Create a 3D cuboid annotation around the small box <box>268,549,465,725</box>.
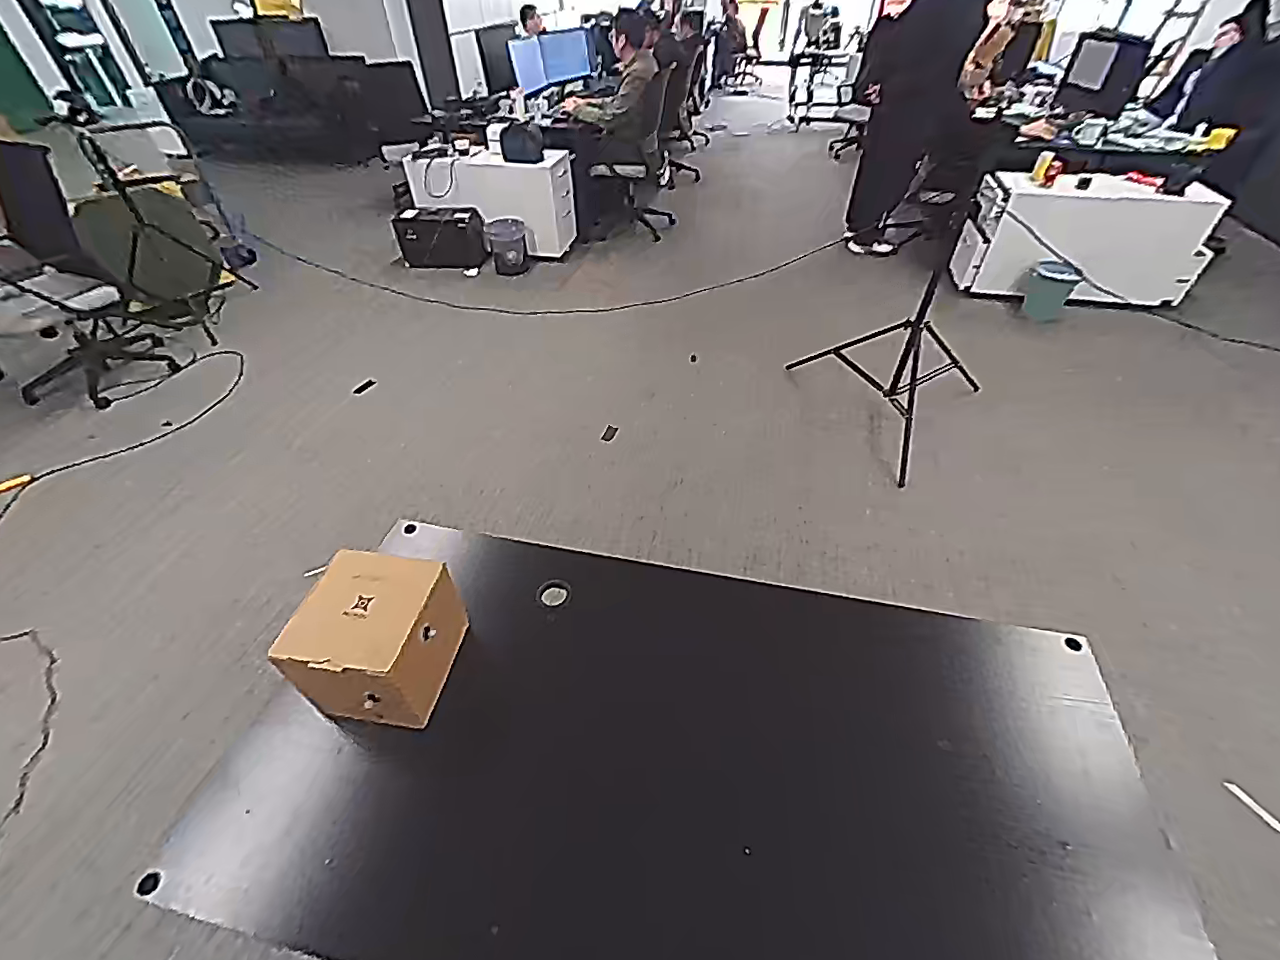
[{"bbox_3d":[-0.368,0.225,0.772,0.168,0.176,0.179,6,43,5],"label":"small box"}]
